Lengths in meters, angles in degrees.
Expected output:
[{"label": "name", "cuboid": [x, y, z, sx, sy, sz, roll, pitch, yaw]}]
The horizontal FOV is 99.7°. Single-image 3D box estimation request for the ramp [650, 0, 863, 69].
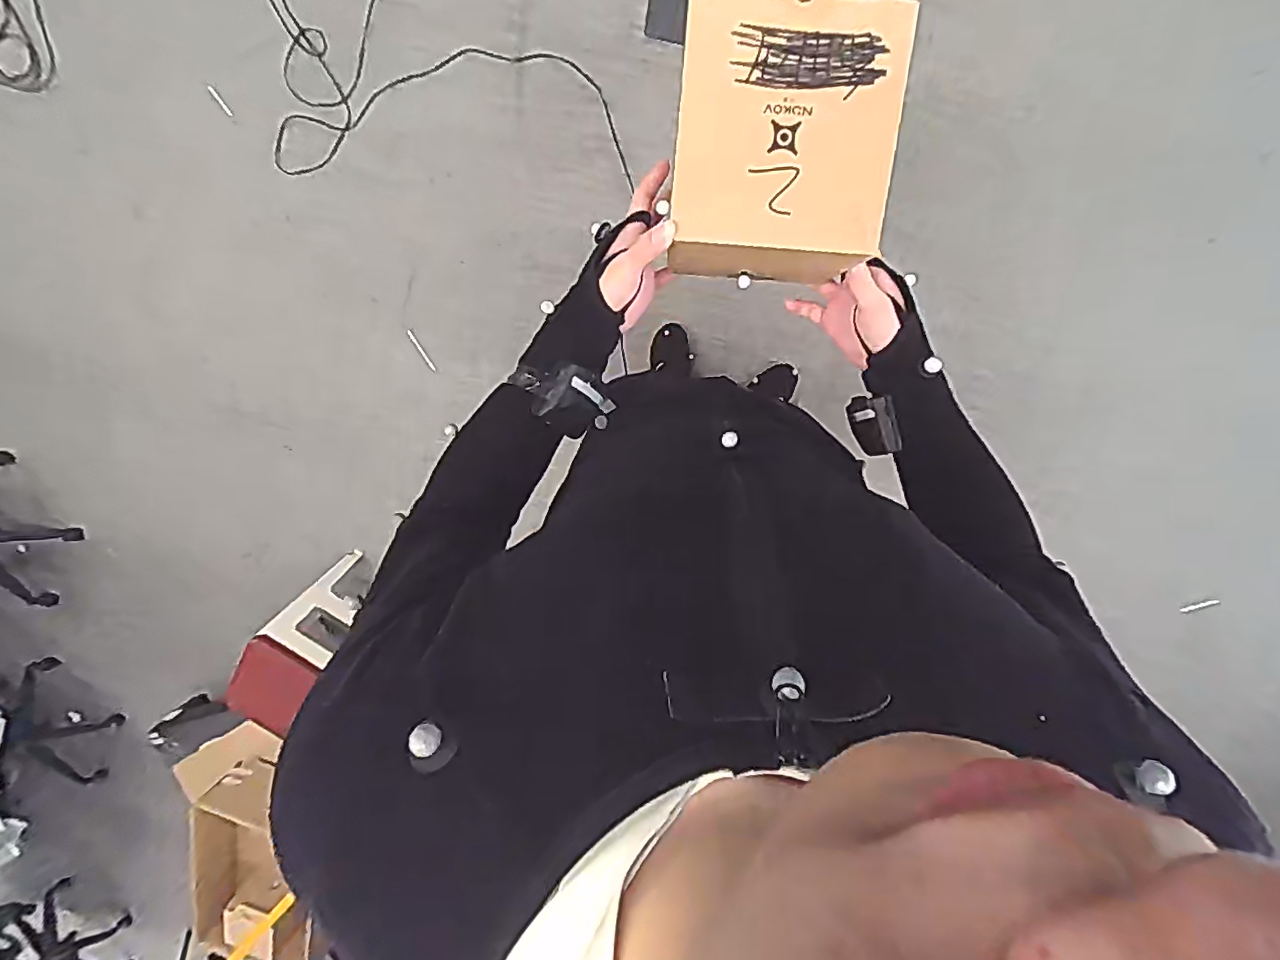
[{"label": "ramp", "cuboid": [0.354, -1.483, 1.098, 0.509, 0.206, 0.991, 14, 108, 4]}]
